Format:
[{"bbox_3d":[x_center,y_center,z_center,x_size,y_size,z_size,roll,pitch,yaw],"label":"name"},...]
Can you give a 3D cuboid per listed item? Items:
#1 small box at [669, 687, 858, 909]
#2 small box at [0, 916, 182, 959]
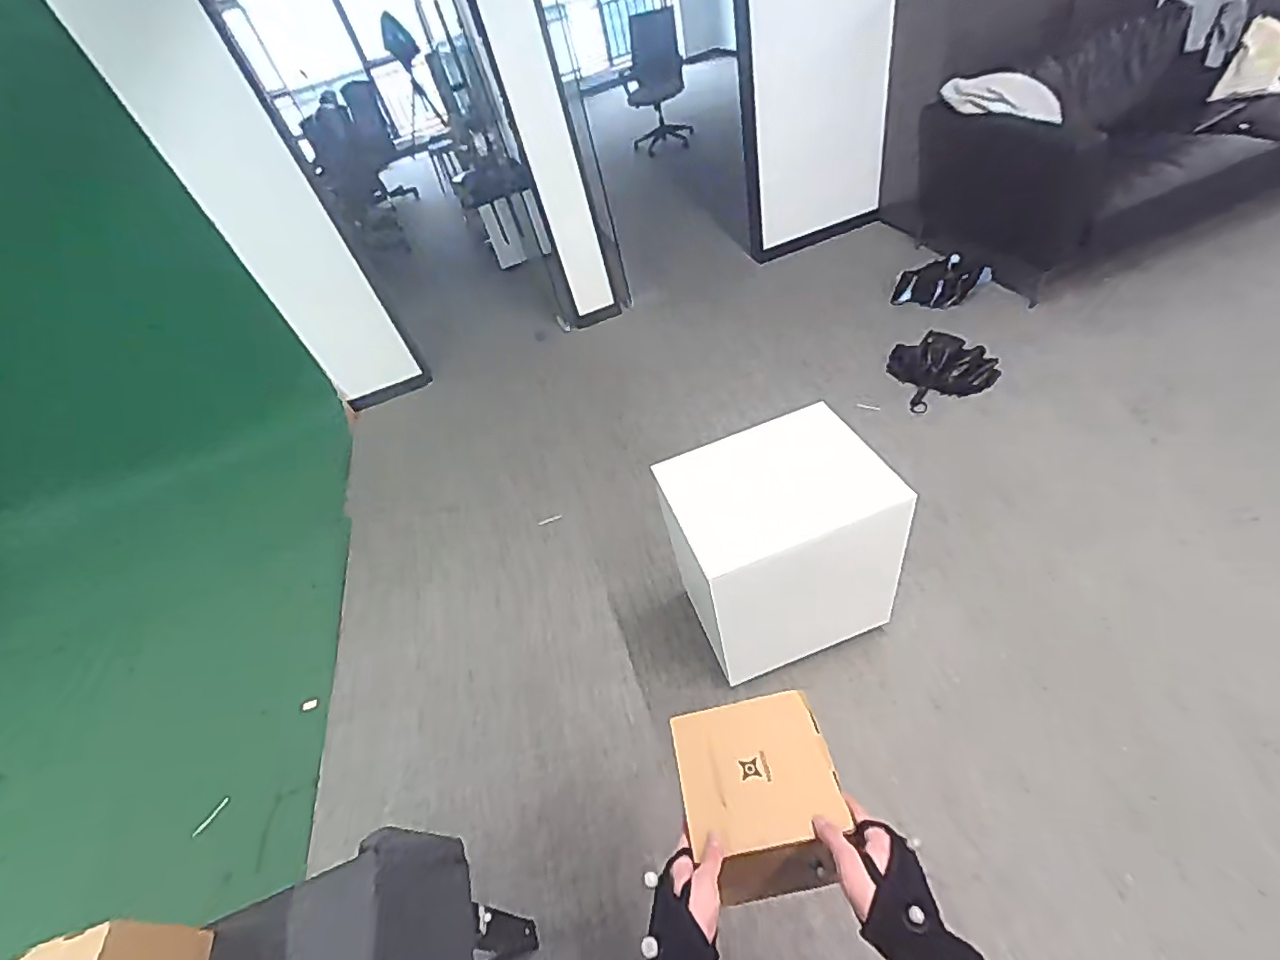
[{"bbox_3d":[0.145,0.387,0.661,0.179,0.176,0.168,-14,36,1],"label":"small box"},{"bbox_3d":[-0.682,0.646,0.617,0.168,0.176,0.179,-19,44,-5],"label":"small box"}]
